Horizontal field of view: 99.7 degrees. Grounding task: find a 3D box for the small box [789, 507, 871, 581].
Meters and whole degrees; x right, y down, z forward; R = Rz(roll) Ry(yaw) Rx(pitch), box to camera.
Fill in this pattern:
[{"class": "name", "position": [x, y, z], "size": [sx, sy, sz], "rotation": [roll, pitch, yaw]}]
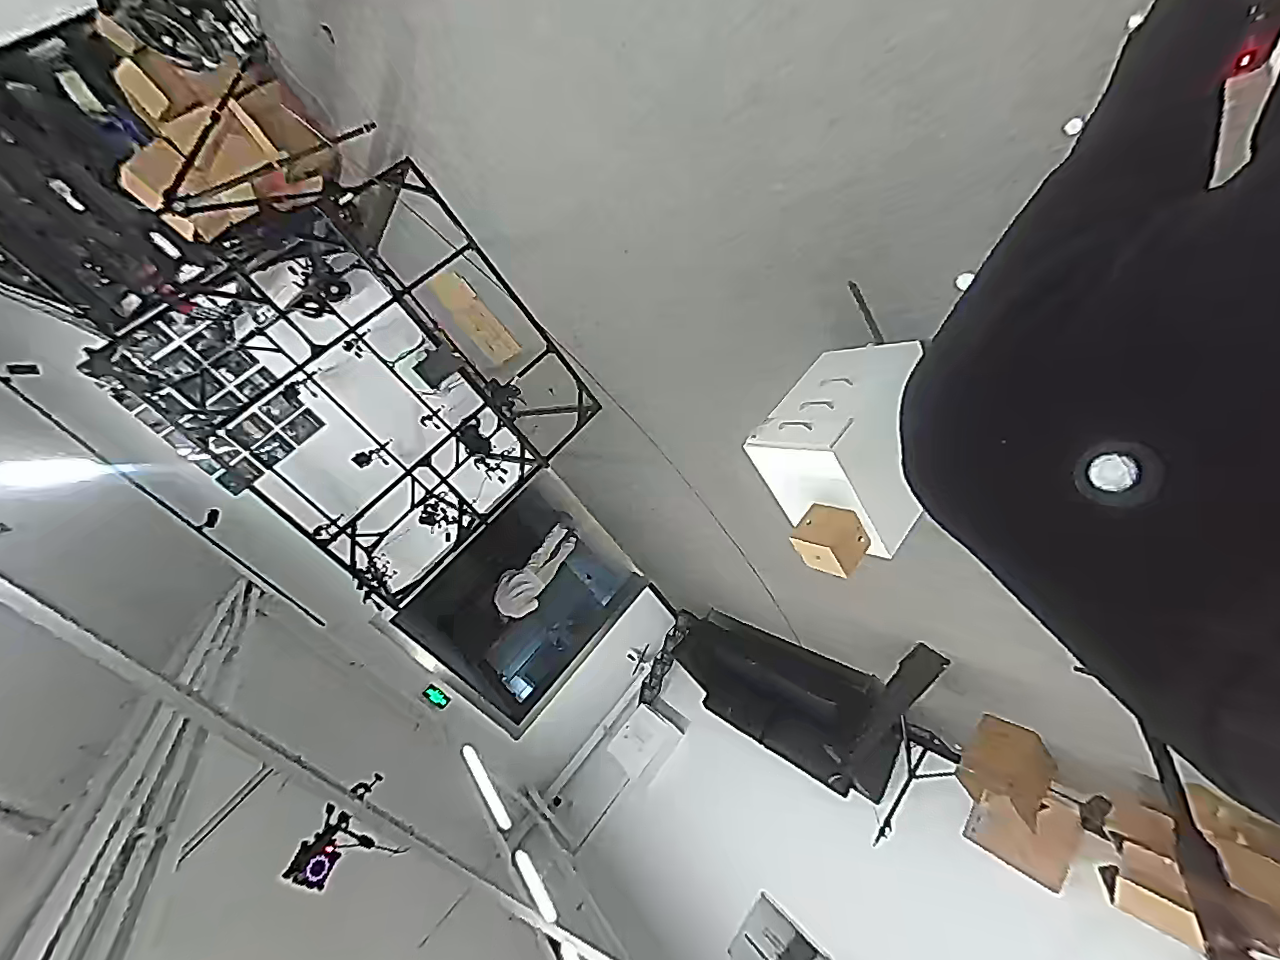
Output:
[{"class": "small box", "position": [0.656, 0.212, 1.859], "size": [0.168, 0.176, 0.179], "rotation": [52, 159, -27]}]
